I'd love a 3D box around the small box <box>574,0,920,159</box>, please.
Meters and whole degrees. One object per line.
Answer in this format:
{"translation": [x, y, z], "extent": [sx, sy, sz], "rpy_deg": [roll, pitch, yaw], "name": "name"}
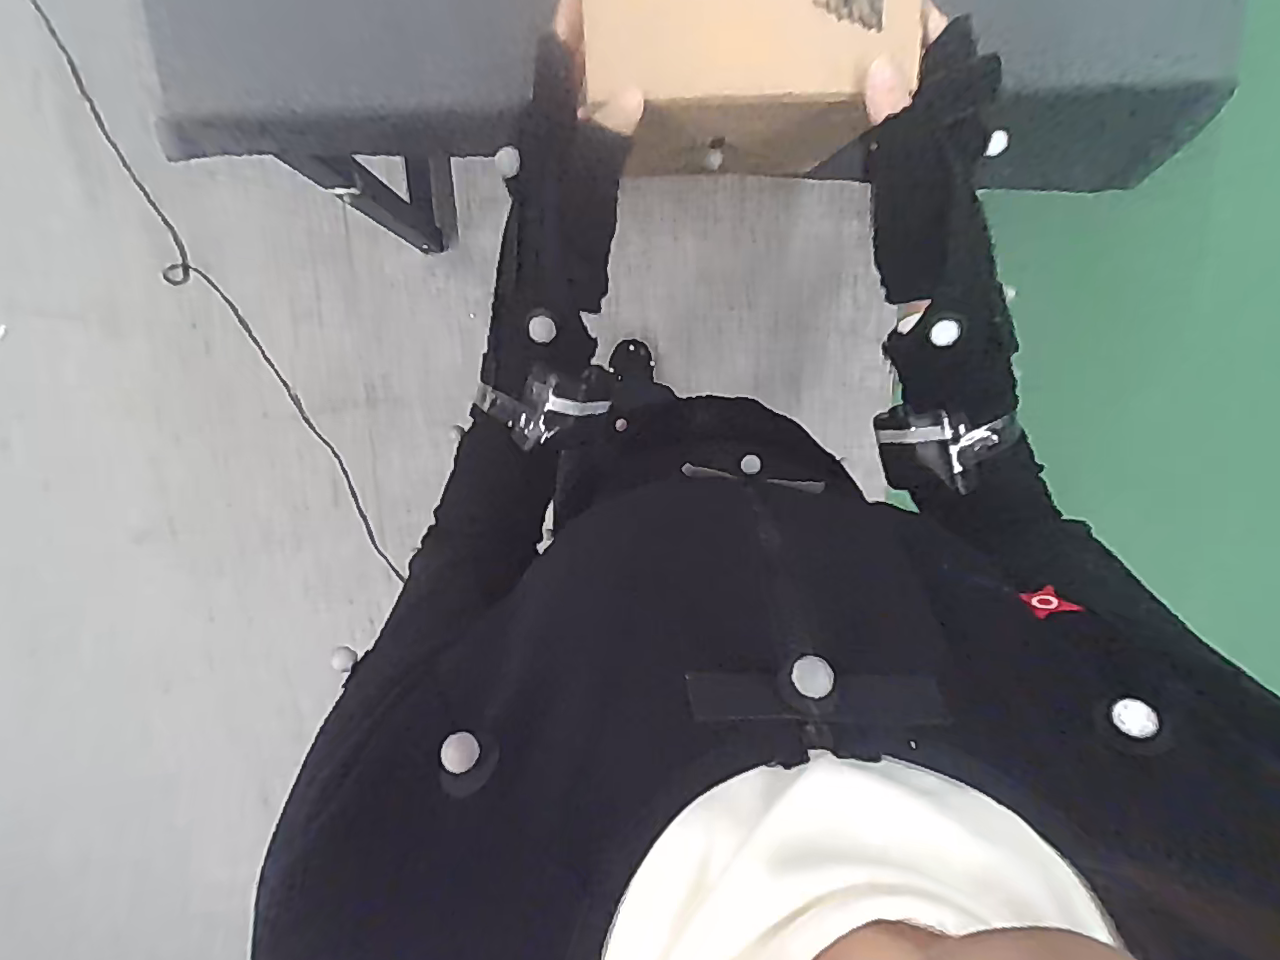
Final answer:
{"translation": [0.049, -0.308, 0.327], "extent": [0.179, 0.176, 0.168], "rpy_deg": [-3, 108, -1], "name": "small box"}
